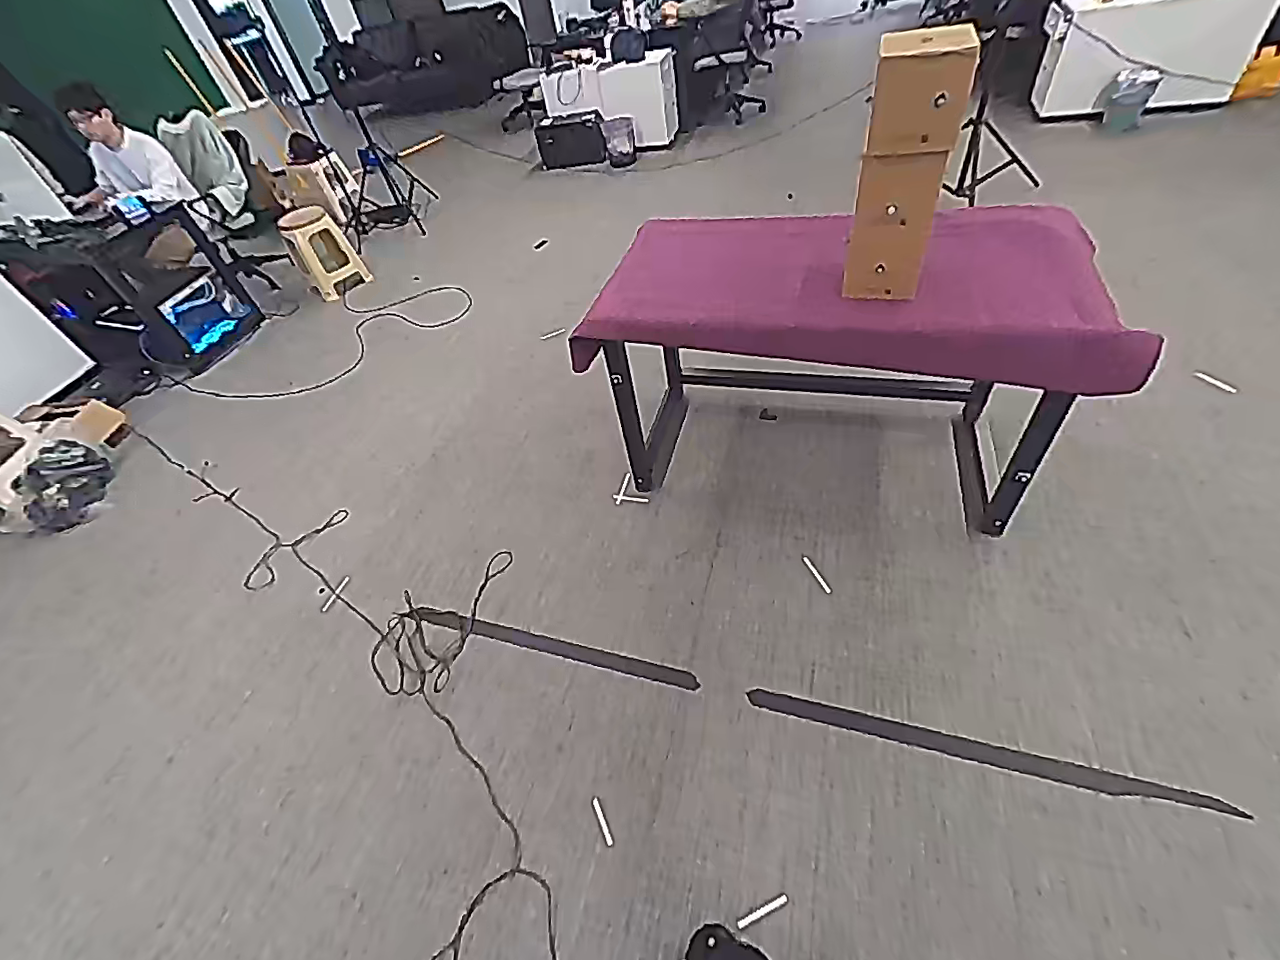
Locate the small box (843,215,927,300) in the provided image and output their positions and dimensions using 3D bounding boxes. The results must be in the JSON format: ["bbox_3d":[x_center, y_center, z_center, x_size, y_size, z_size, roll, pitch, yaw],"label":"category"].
[{"bbox_3d":[0.598,-0.559,1.322,0.168,0.176,0.179,10,50,19],"label":"small box"}]

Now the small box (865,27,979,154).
[{"bbox_3d":[0.549,-0.763,1.071,0.168,0.176,0.179,7,49,17],"label":"small box"}]

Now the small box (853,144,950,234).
[{"bbox_3d":[0.578,-0.671,1.203,0.168,0.176,0.179,9,51,19],"label":"small box"}]
